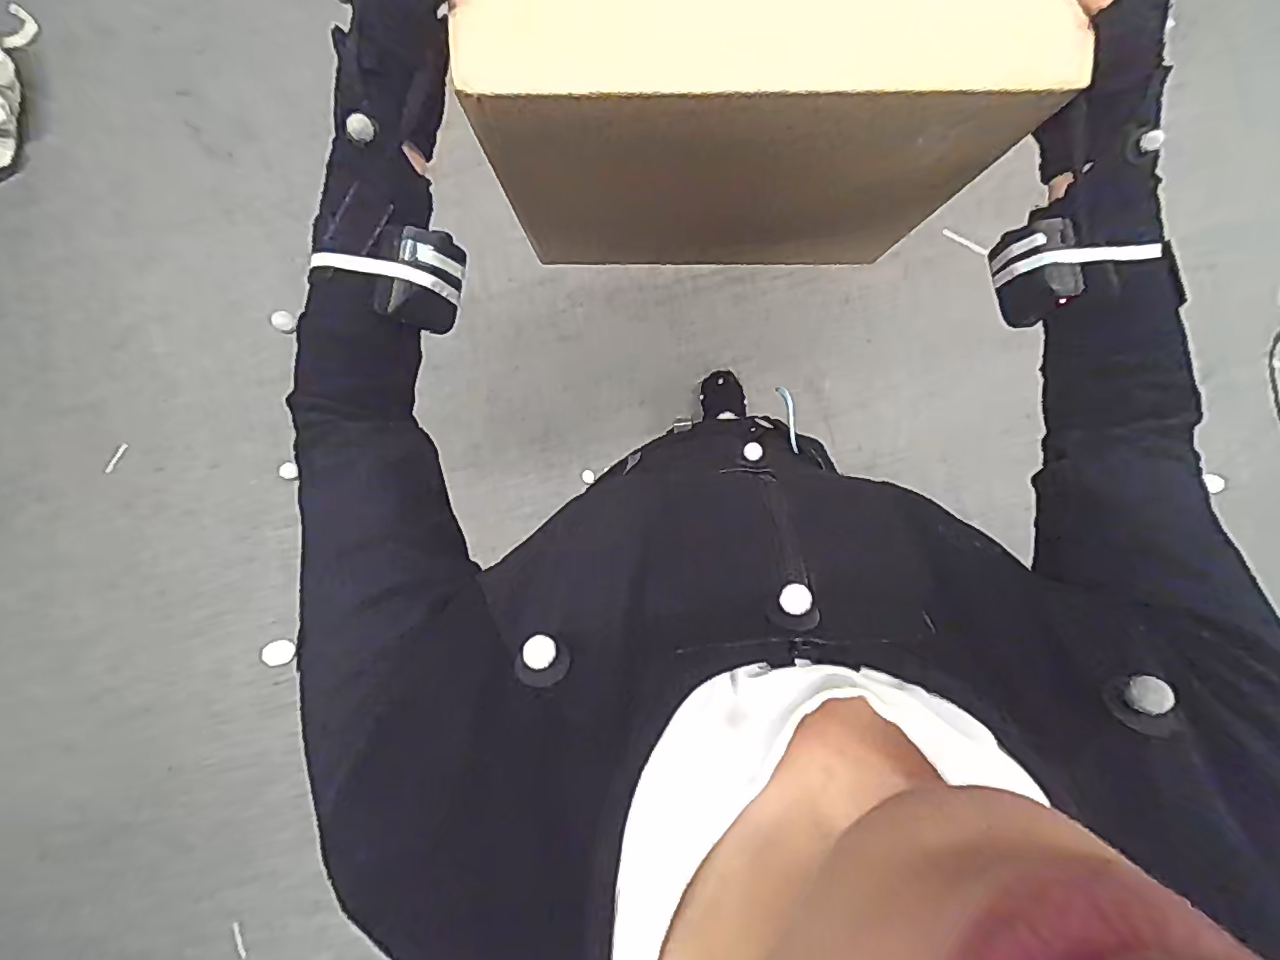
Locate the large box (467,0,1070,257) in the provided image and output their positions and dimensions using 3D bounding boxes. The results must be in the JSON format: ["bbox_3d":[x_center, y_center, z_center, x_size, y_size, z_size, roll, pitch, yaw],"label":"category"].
[{"bbox_3d":[0.077,-0.418,0.497,0.408,0.320,0.320,-1,93,-1],"label":"large box"}]
